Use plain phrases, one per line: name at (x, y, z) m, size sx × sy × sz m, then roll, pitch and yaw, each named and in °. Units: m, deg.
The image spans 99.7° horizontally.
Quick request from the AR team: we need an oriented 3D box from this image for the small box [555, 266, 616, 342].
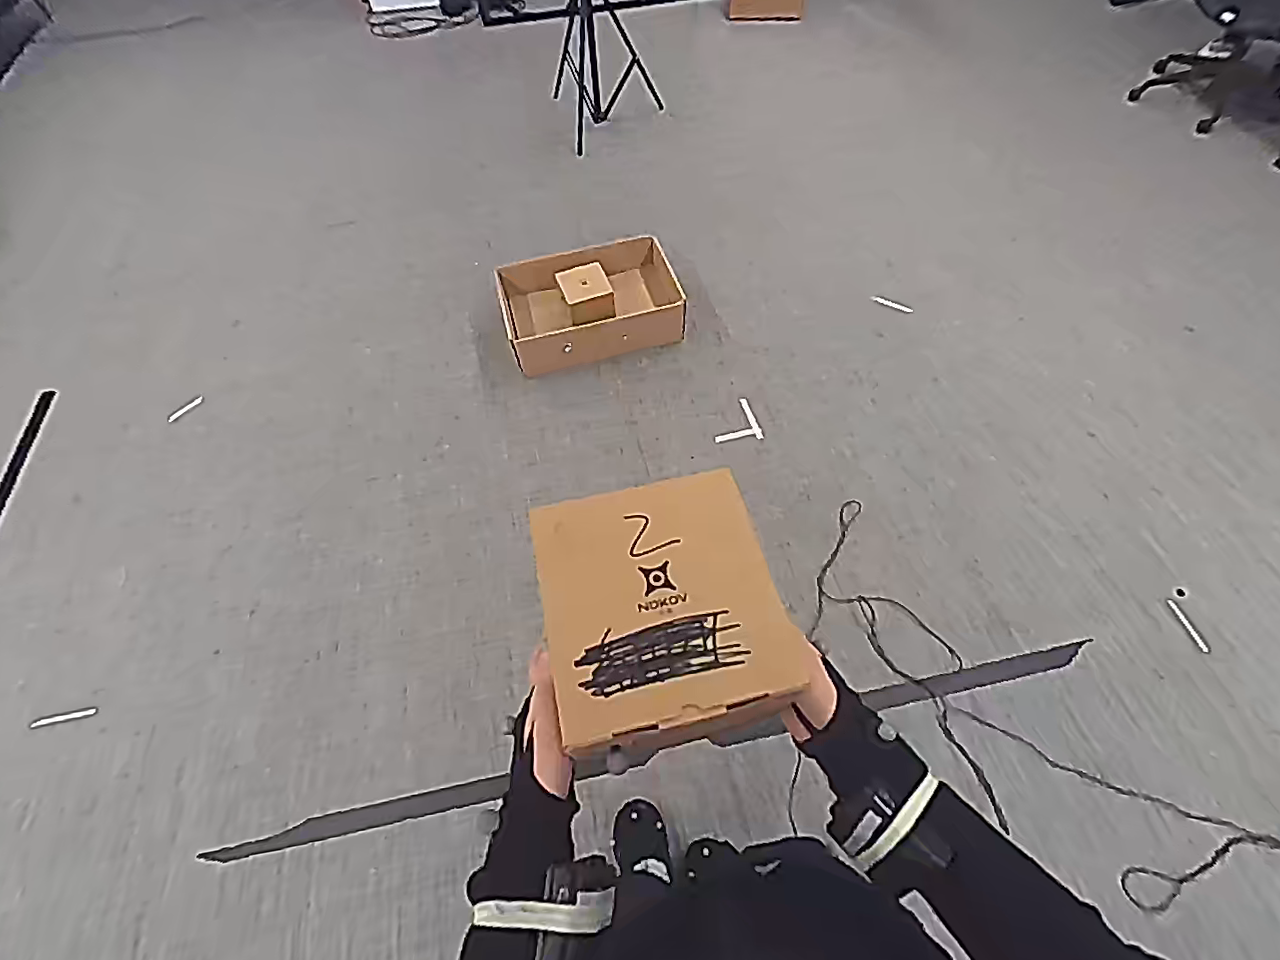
small box at (-0.194, -0.633, 1.951) m, size 0.168 × 0.176 × 0.179 m, roll -20°, pitch 61°, yaw -9°
